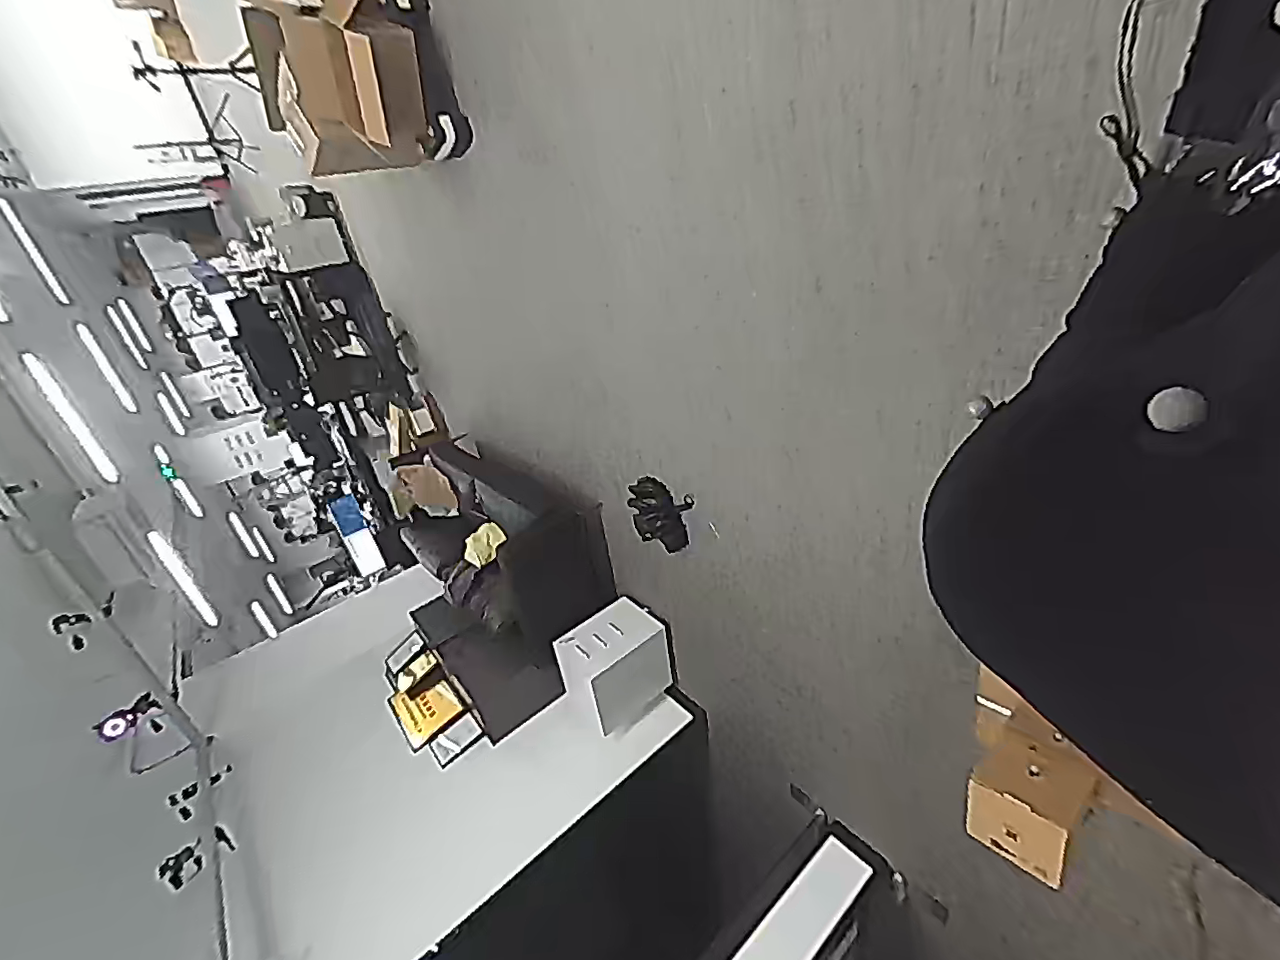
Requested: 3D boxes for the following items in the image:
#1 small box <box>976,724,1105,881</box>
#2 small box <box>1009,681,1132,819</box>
[{"bbox_3d":[0.813,0.641,1.099,0.168,0.176,0.179,17,126,50],"label":"small box"},{"bbox_3d":[0.937,0.578,1.185,0.179,0.176,0.168,19,128,50],"label":"small box"}]
